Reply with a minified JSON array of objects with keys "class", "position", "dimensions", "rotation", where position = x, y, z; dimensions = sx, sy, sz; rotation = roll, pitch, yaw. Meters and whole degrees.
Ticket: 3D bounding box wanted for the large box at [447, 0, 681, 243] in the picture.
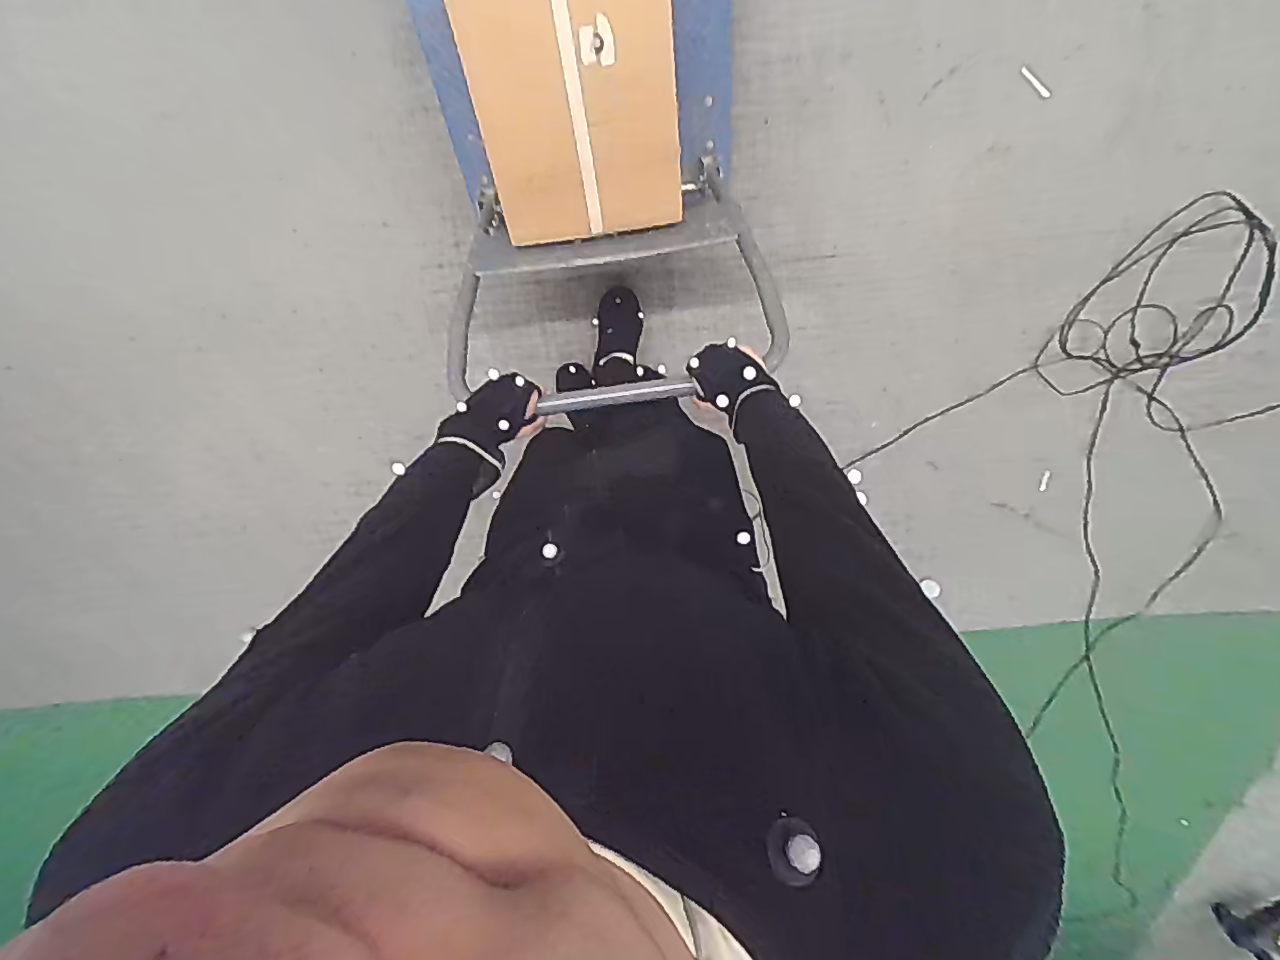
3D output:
[{"class":"large box","position":[-0.109,-0.696,0.959],"dimensions":[0.320,0.320,0.408],"rotation":[-8,134,2]}]
